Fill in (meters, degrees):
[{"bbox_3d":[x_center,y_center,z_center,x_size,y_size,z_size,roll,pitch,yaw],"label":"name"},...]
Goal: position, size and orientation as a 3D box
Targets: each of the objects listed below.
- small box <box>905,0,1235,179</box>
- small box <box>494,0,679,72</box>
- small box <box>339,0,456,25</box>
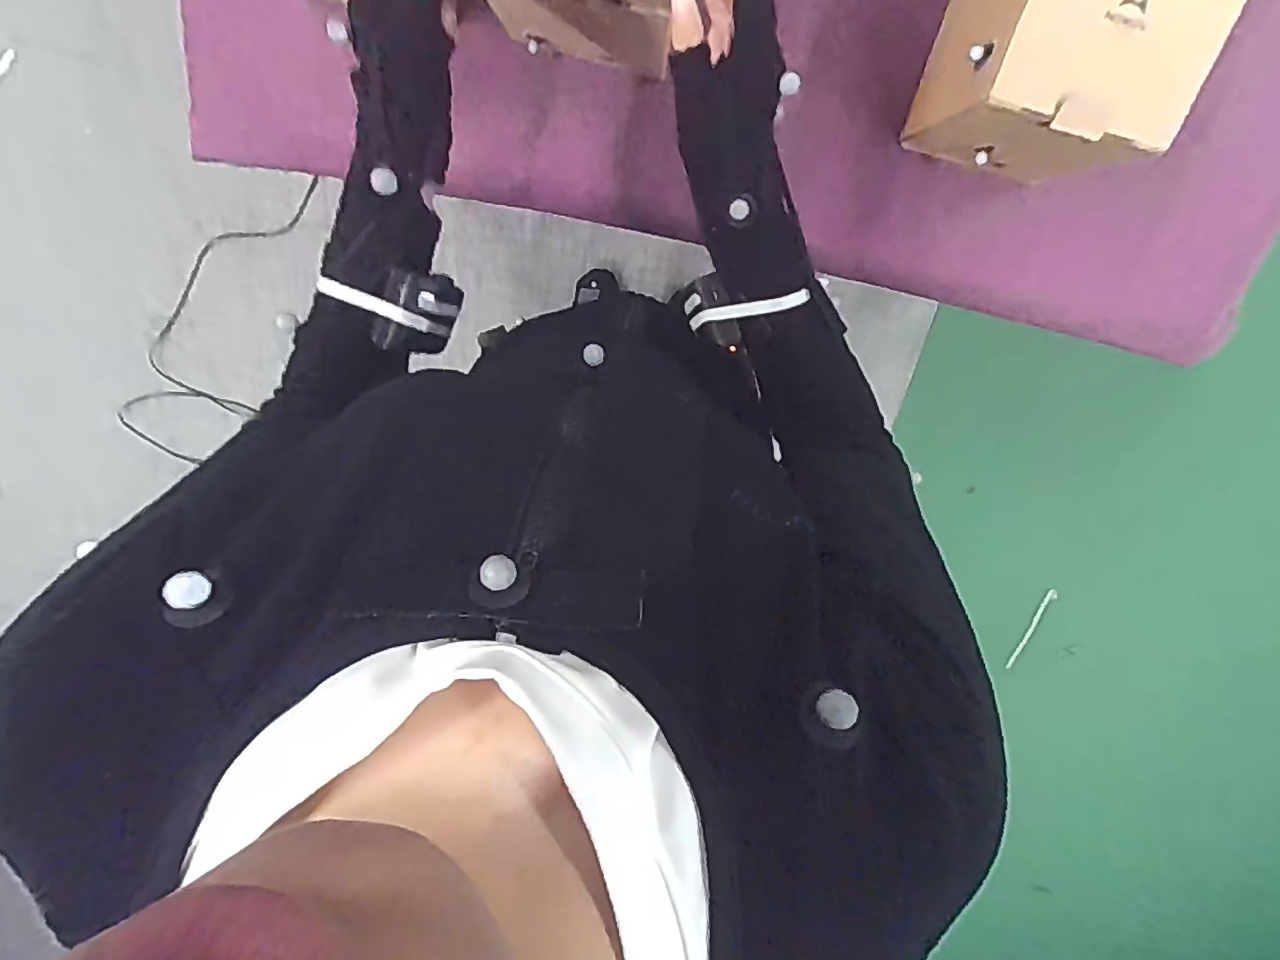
[{"bbox_3d":[0.379,-0.402,0.496,0.168,0.176,0.179,13,111,-4],"label":"small box"},{"bbox_3d":[-0.038,-0.492,0.465,0.168,0.176,0.179,12,111,-4],"label":"small box"},{"bbox_3d":[-0.255,-0.533,0.449,0.168,0.176,0.179,11,112,-3],"label":"small box"}]
